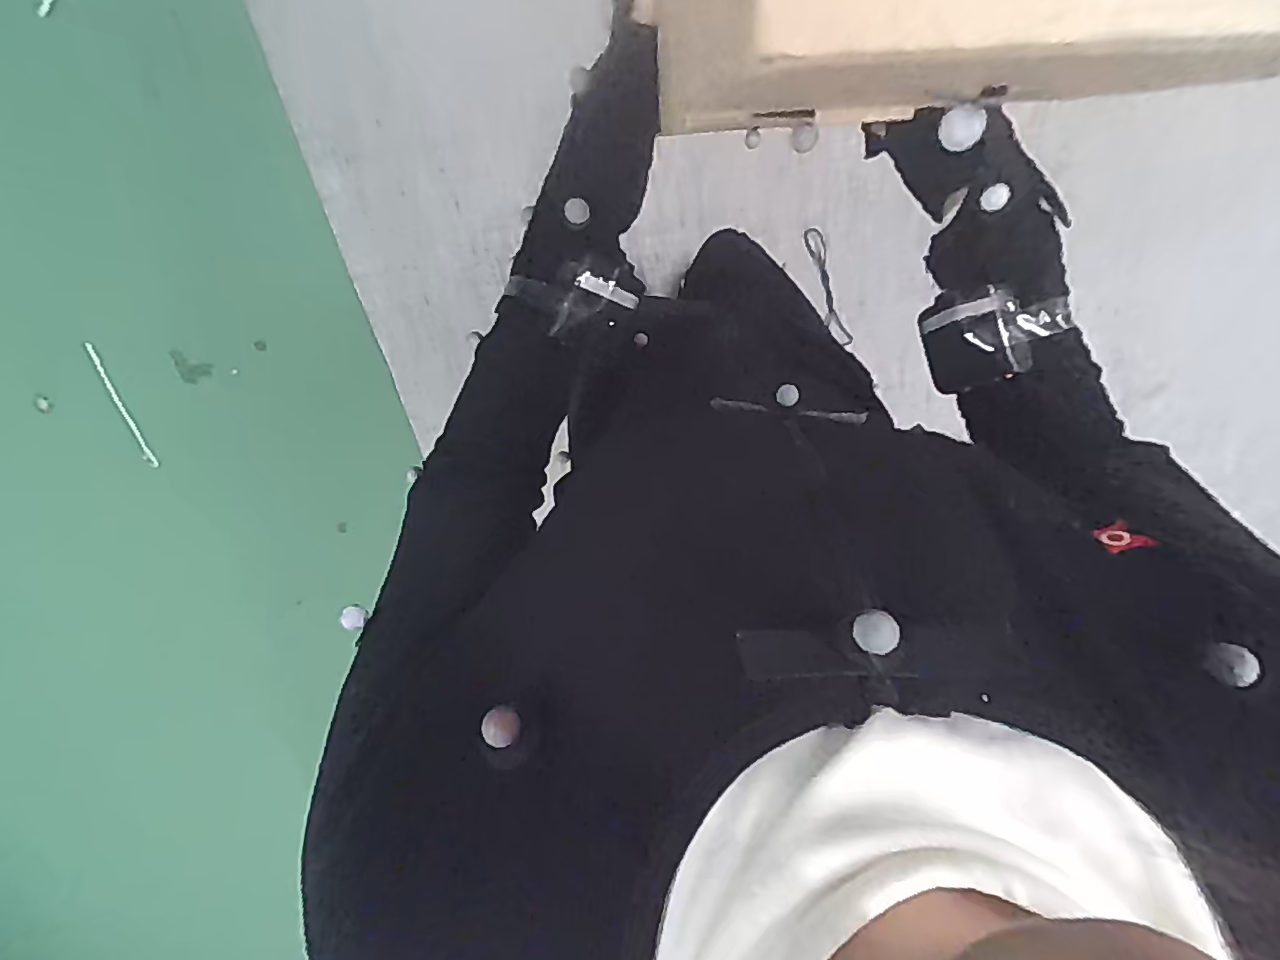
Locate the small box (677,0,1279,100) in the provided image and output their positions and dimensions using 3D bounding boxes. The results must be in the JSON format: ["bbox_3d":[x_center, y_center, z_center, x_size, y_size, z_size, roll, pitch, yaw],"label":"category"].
[{"bbox_3d":[0.105,-0.194,0.122,0.179,0.176,0.168,-1,122,0],"label":"small box"}]

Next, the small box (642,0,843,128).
[{"bbox_3d":[0.090,-0.366,0.402,0.179,0.176,0.168,-5,122,0],"label":"small box"}]

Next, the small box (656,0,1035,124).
[{"bbox_3d":[0.093,-0.284,0.261,0.168,0.176,0.179,-5,123,1],"label":"small box"}]
